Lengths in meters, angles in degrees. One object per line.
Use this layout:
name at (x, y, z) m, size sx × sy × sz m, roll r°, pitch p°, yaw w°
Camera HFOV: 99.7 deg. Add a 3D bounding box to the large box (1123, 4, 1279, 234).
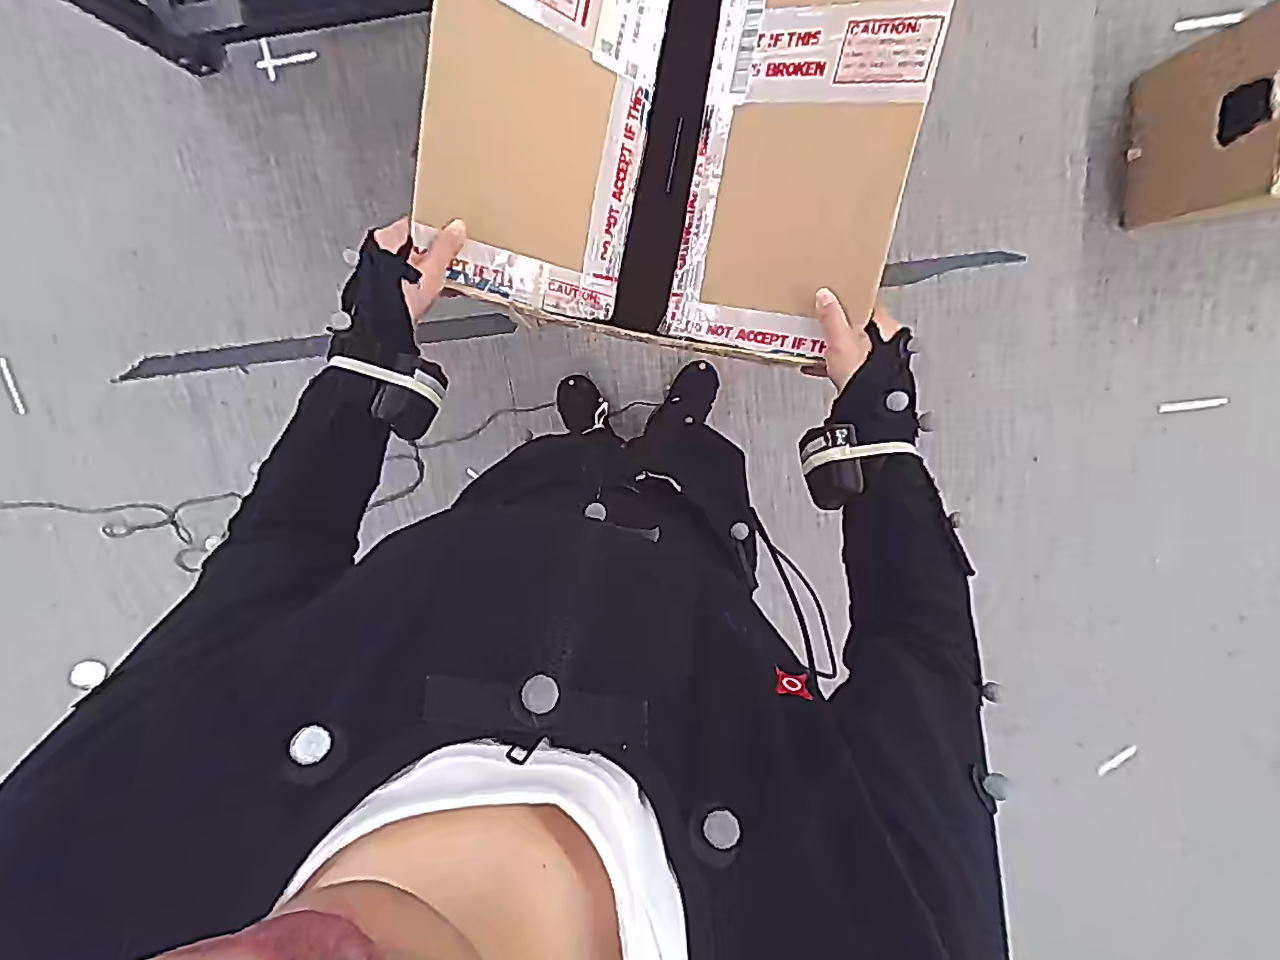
large box at (1.252, -0.686, 1.021) m, size 0.408 × 0.320 × 0.320 m, roll -8°, pitch 103°, yaw 4°
